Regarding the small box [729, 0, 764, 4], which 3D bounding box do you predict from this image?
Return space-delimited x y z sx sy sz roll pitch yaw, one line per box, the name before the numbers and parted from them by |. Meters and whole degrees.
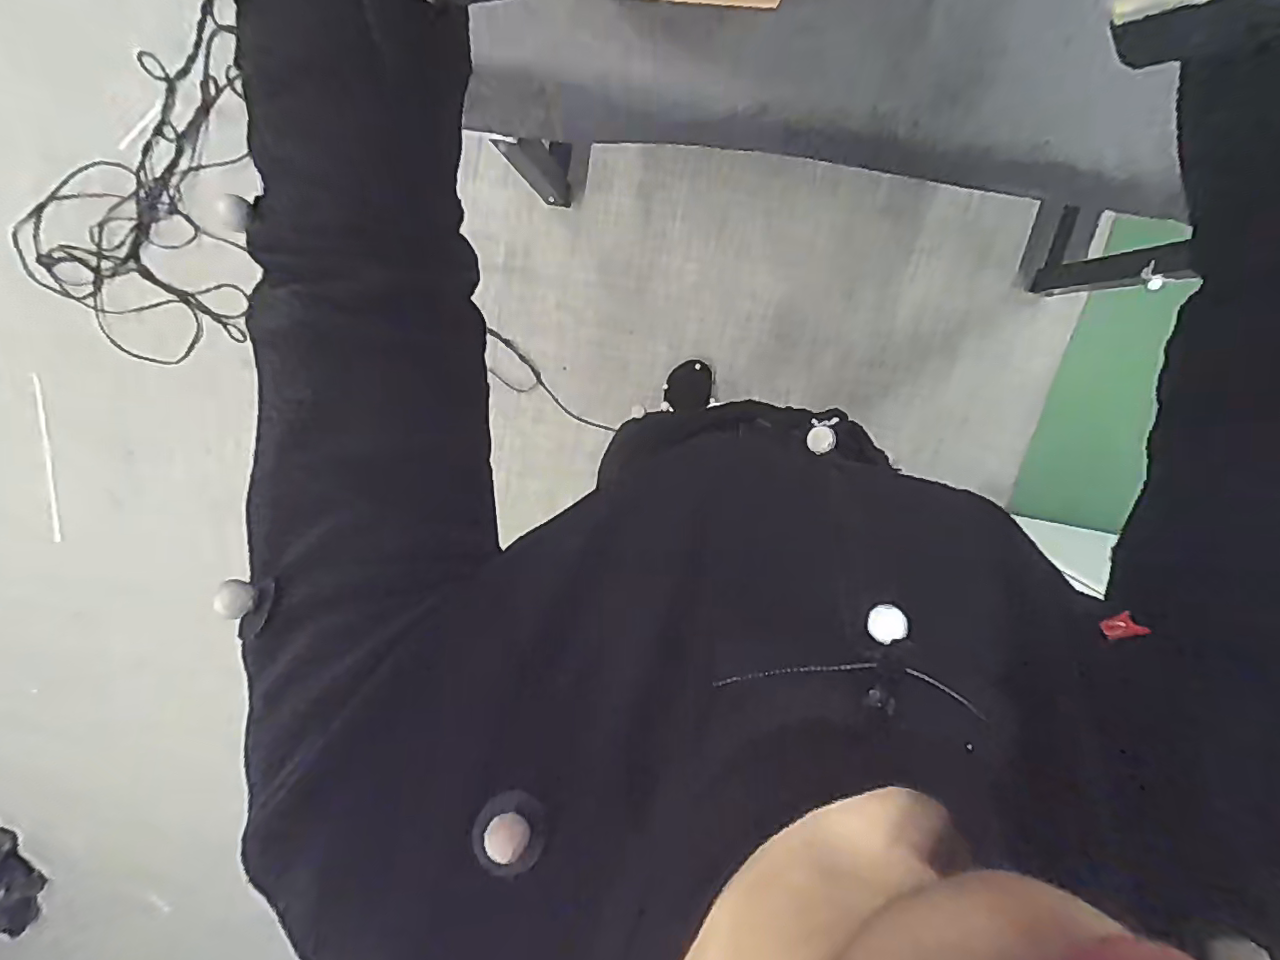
small box | 0.050 -0.520 0.420 0.168 0.176 0.179 5 104 1
